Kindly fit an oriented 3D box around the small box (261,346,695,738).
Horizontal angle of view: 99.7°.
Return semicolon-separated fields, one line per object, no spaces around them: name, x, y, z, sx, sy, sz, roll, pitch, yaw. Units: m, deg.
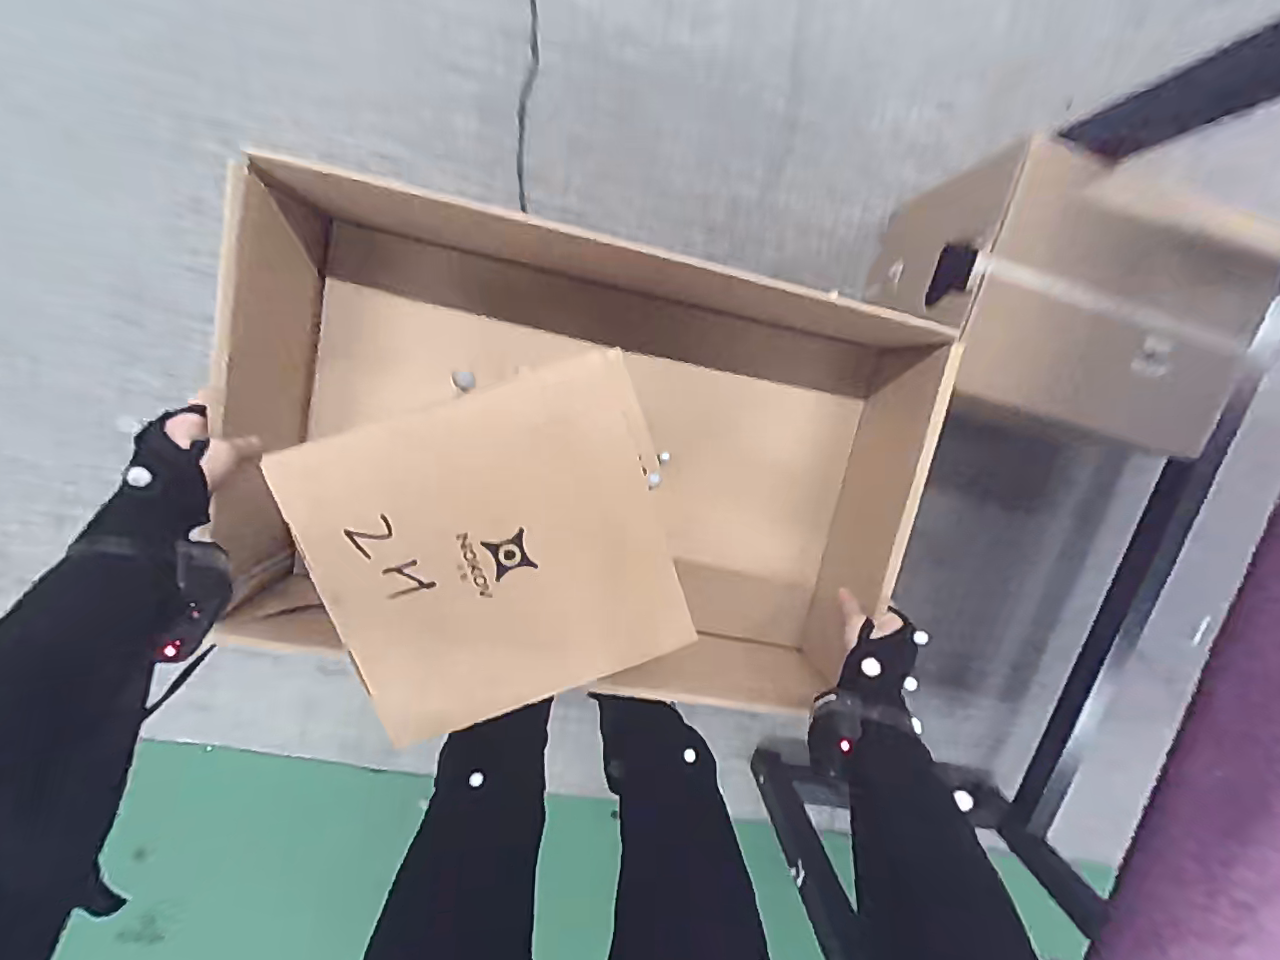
small box;-0.083;0.021;0.352;0.179;0.176;0.168;-19;100;-3
